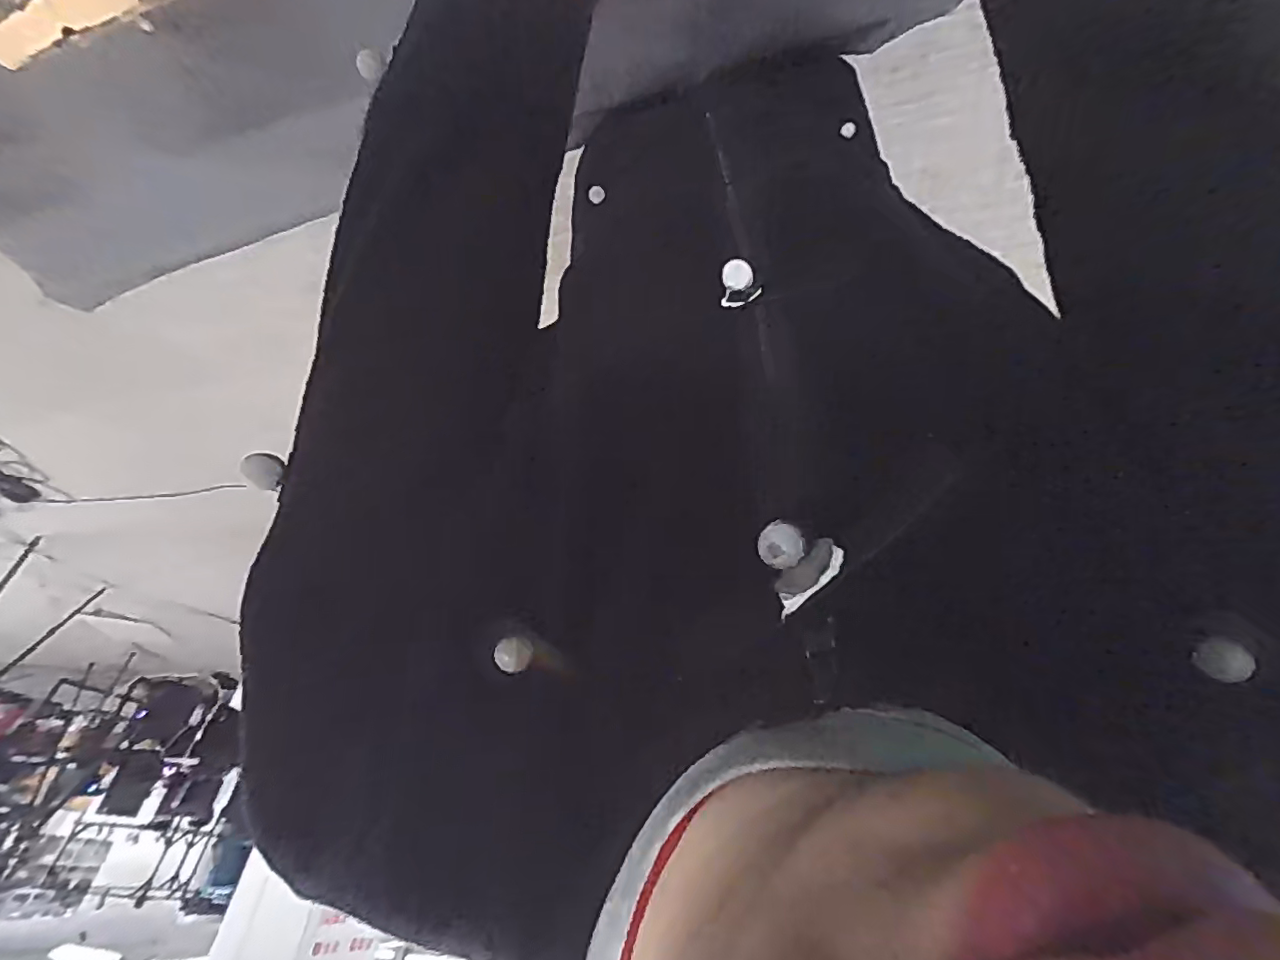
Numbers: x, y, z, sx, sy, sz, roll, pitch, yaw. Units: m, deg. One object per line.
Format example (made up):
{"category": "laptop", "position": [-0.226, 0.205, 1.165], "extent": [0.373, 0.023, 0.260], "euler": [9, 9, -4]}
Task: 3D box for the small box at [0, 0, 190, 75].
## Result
{"category": "small box", "position": [-0.461, -0.458, 0.411], "extent": [0.168, 0.176, 0.179], "euler": [-6, 141, 15]}
